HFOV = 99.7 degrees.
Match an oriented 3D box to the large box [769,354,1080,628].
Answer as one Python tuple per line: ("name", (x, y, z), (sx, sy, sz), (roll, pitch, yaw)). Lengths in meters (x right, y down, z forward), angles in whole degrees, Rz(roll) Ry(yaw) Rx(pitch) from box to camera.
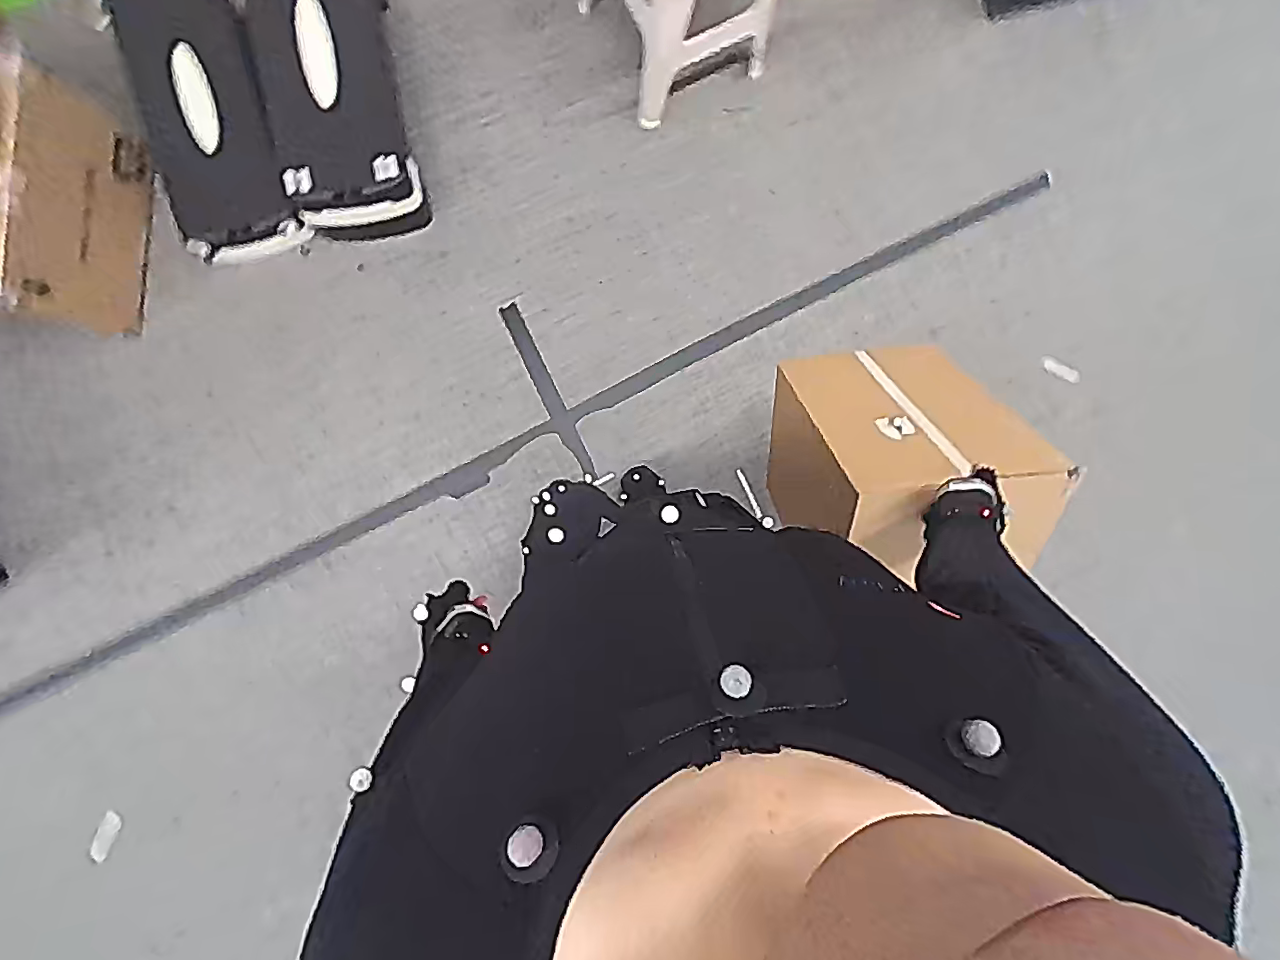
("large box", (0.453, 0.006, 0.993), (0.320, 0.408, 0.320), (-6, 130, -1))
